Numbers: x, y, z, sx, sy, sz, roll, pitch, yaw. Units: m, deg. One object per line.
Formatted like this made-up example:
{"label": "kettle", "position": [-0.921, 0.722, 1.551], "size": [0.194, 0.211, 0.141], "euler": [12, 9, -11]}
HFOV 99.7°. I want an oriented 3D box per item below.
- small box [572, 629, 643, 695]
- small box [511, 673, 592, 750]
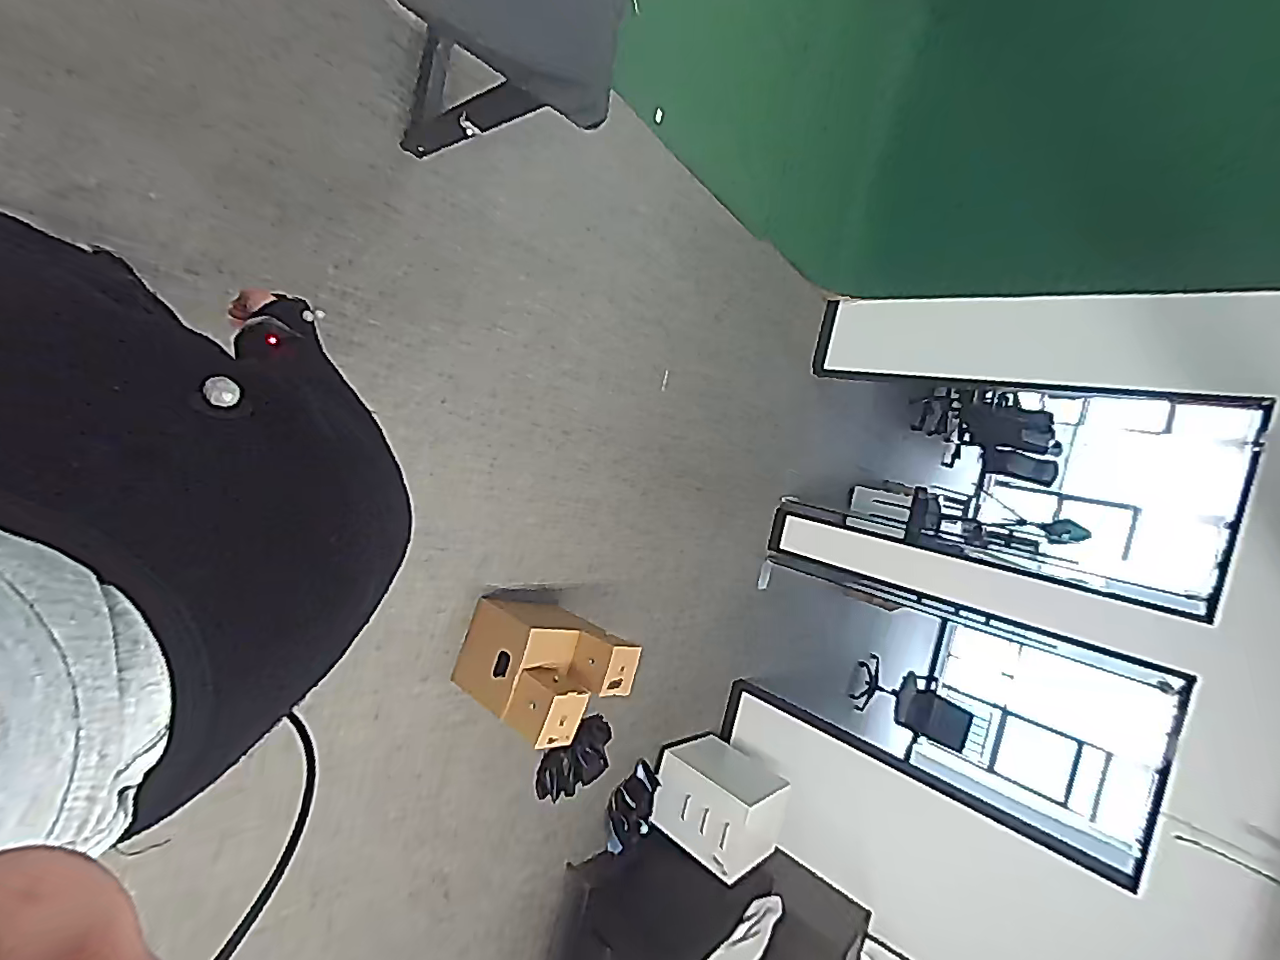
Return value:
{"label": "small box", "position": [-0.120, 0.648, 1.927], "size": [0.168, 0.176, 0.179], "euler": [24, 78, -51]}
{"label": "small box", "position": [-0.290, 0.737, 1.747], "size": [0.168, 0.176, 0.179], "euler": [24, 83, -51]}
